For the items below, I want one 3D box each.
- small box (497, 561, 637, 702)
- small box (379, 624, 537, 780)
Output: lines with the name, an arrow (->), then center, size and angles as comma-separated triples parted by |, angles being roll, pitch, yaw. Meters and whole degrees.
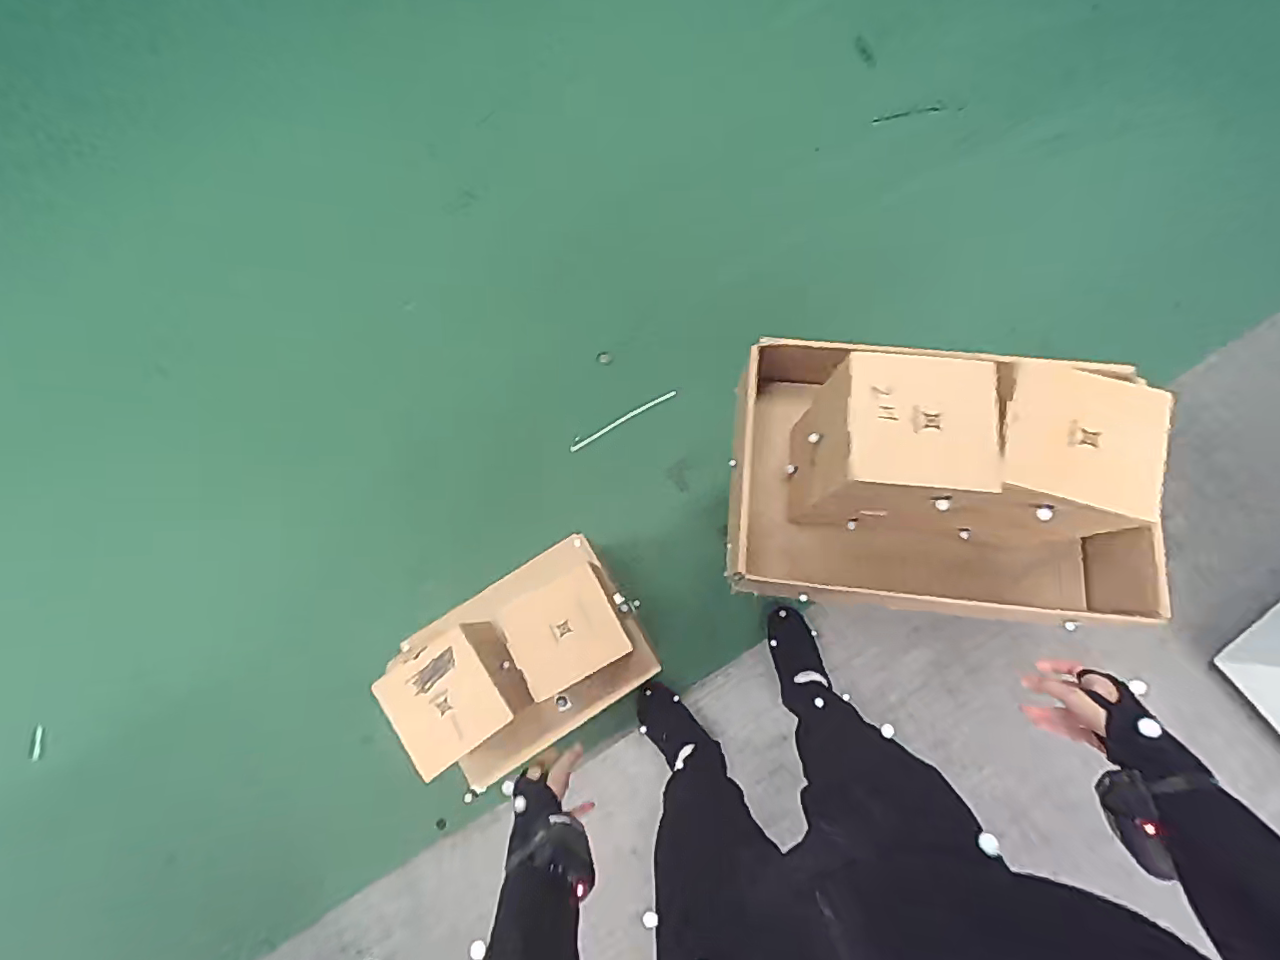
small box -> -0.118, 0.260, 0.946 | 0.179, 0.176, 0.168 | -28, 78, -4
small box -> -0.300, 0.367, 0.928 | 0.168, 0.176, 0.179 | -35, 78, -6
